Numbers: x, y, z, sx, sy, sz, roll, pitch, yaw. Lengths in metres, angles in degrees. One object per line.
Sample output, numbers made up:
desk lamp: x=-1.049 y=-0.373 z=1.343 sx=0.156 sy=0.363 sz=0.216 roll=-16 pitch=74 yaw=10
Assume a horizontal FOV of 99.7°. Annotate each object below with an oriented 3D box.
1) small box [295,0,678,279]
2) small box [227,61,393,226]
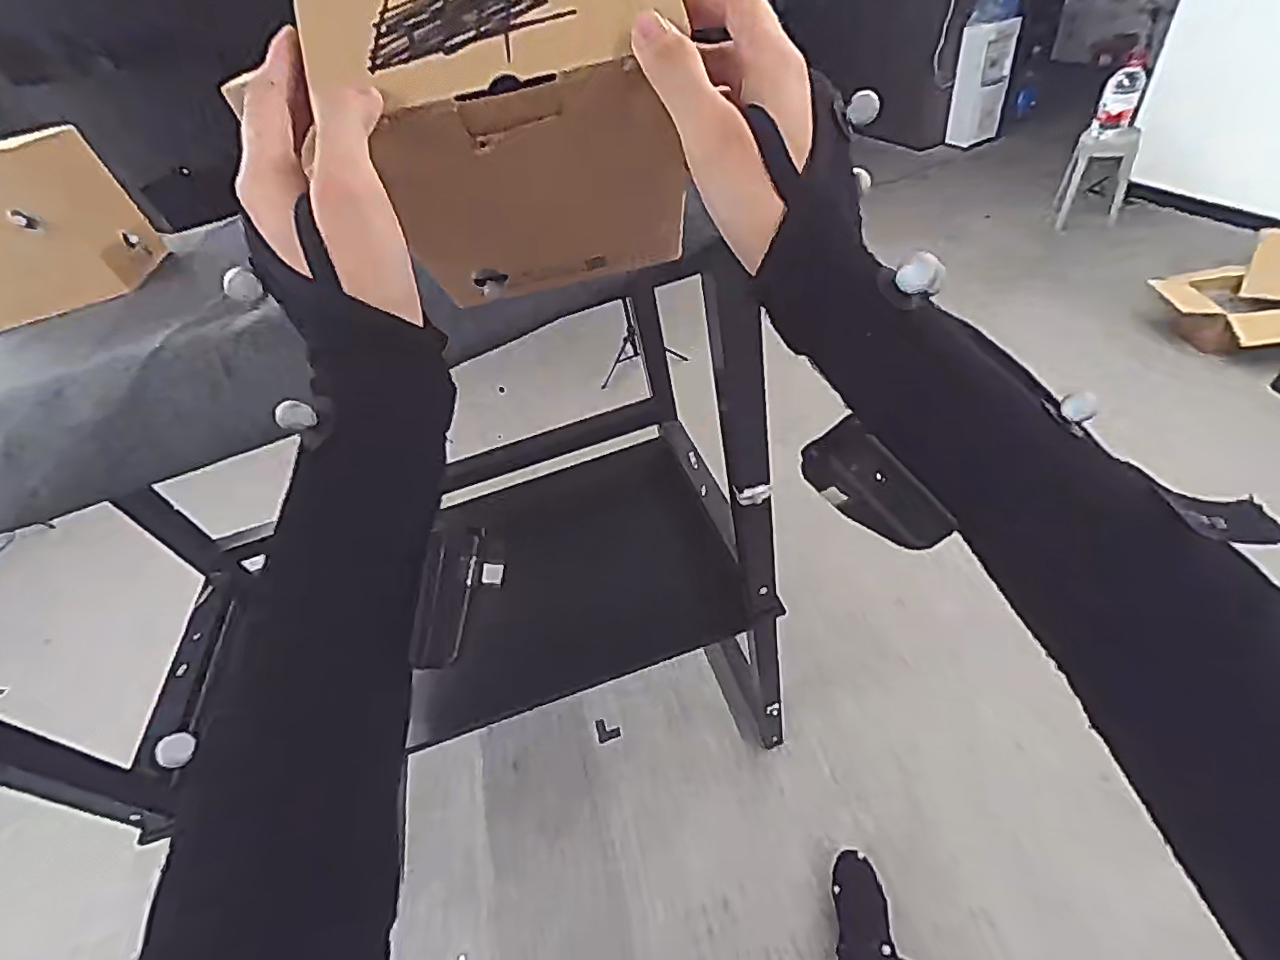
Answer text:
small box: x=-0.074 y=-0.242 z=0.321 sx=0.168 sy=0.176 sz=0.179 roll=-13 pitch=81 yaw=0
small box: x=-0.401 y=-0.467 z=0.736 sx=0.168 sy=0.176 sz=0.179 roll=-20 pitch=42 yaw=-4
